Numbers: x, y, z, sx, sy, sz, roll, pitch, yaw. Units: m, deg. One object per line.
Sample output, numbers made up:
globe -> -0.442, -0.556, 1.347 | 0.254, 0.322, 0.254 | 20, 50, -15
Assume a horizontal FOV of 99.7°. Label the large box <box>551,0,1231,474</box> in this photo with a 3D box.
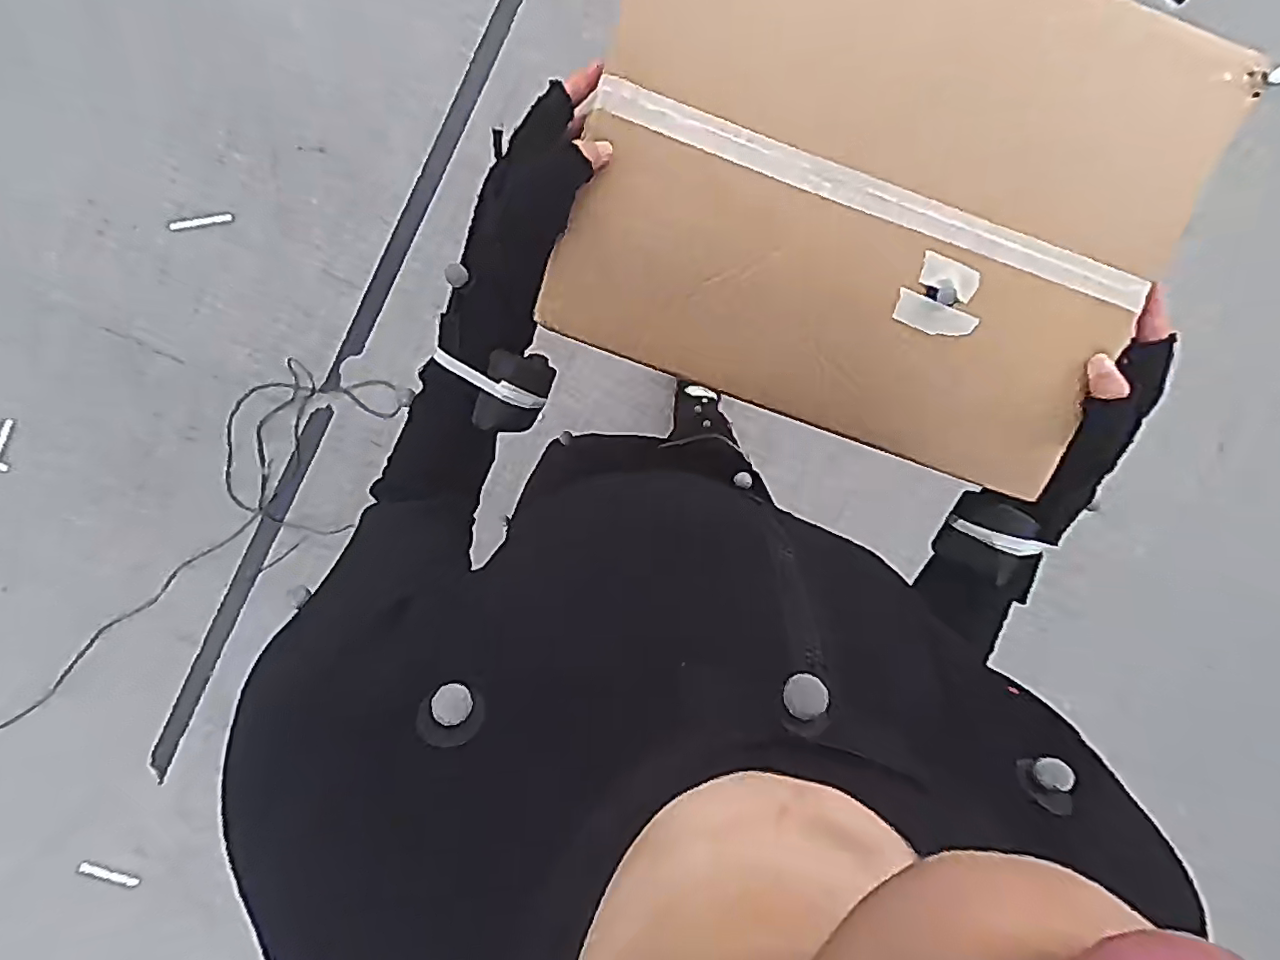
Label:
large box -> 0.165, -0.239, 0.530 | 0.408, 0.320, 0.320 | 19, 104, -4
